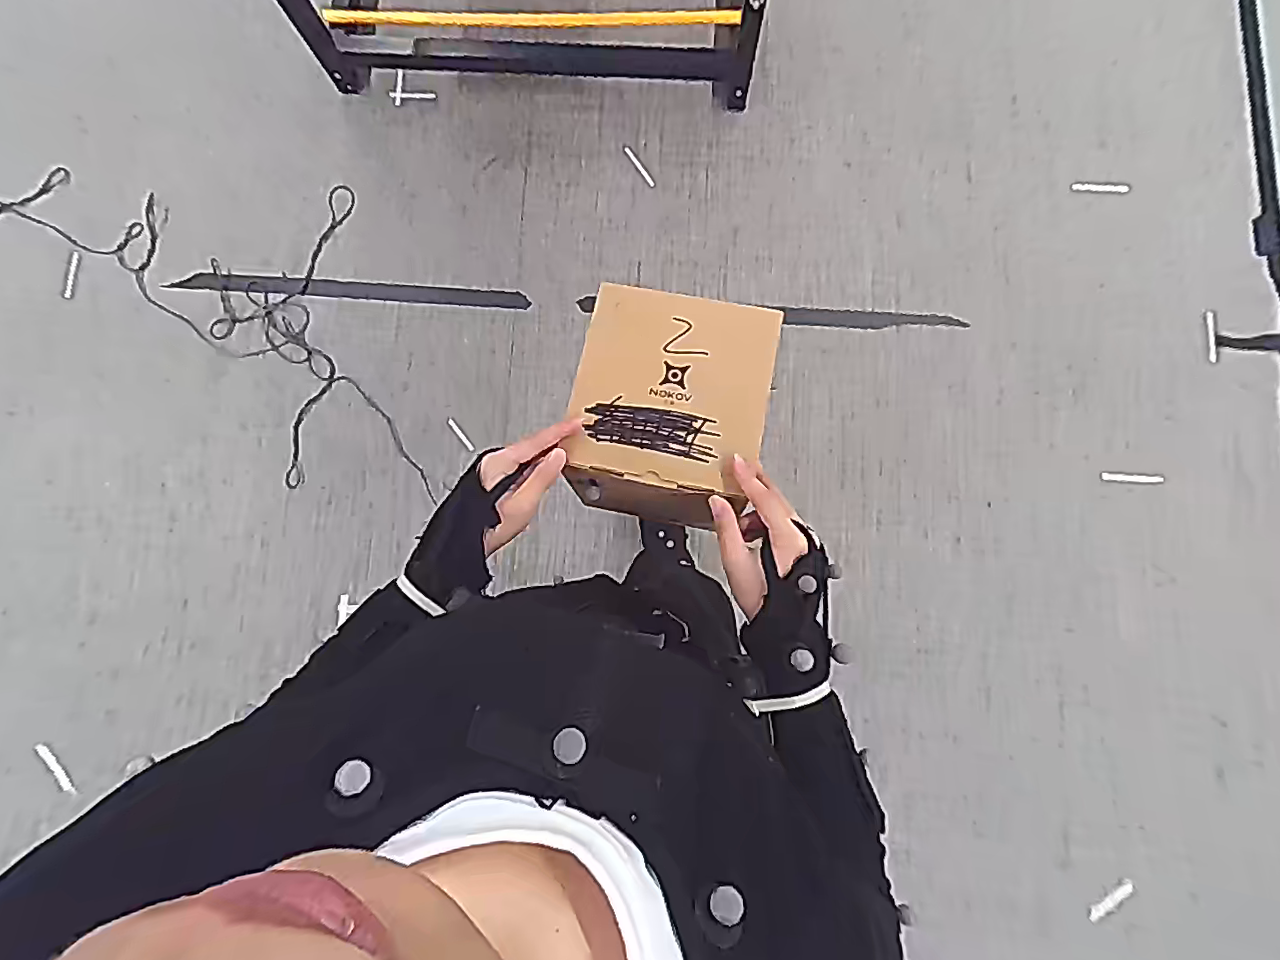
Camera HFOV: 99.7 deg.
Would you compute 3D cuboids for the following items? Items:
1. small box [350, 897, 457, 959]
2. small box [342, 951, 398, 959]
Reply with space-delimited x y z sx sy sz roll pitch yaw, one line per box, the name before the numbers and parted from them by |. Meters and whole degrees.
small box | -0.496 1.018 1.126 0.168 0.176 0.179 7 83 2
small box | -0.510 0.997 0.965 0.179 0.176 0.168 10 83 1
